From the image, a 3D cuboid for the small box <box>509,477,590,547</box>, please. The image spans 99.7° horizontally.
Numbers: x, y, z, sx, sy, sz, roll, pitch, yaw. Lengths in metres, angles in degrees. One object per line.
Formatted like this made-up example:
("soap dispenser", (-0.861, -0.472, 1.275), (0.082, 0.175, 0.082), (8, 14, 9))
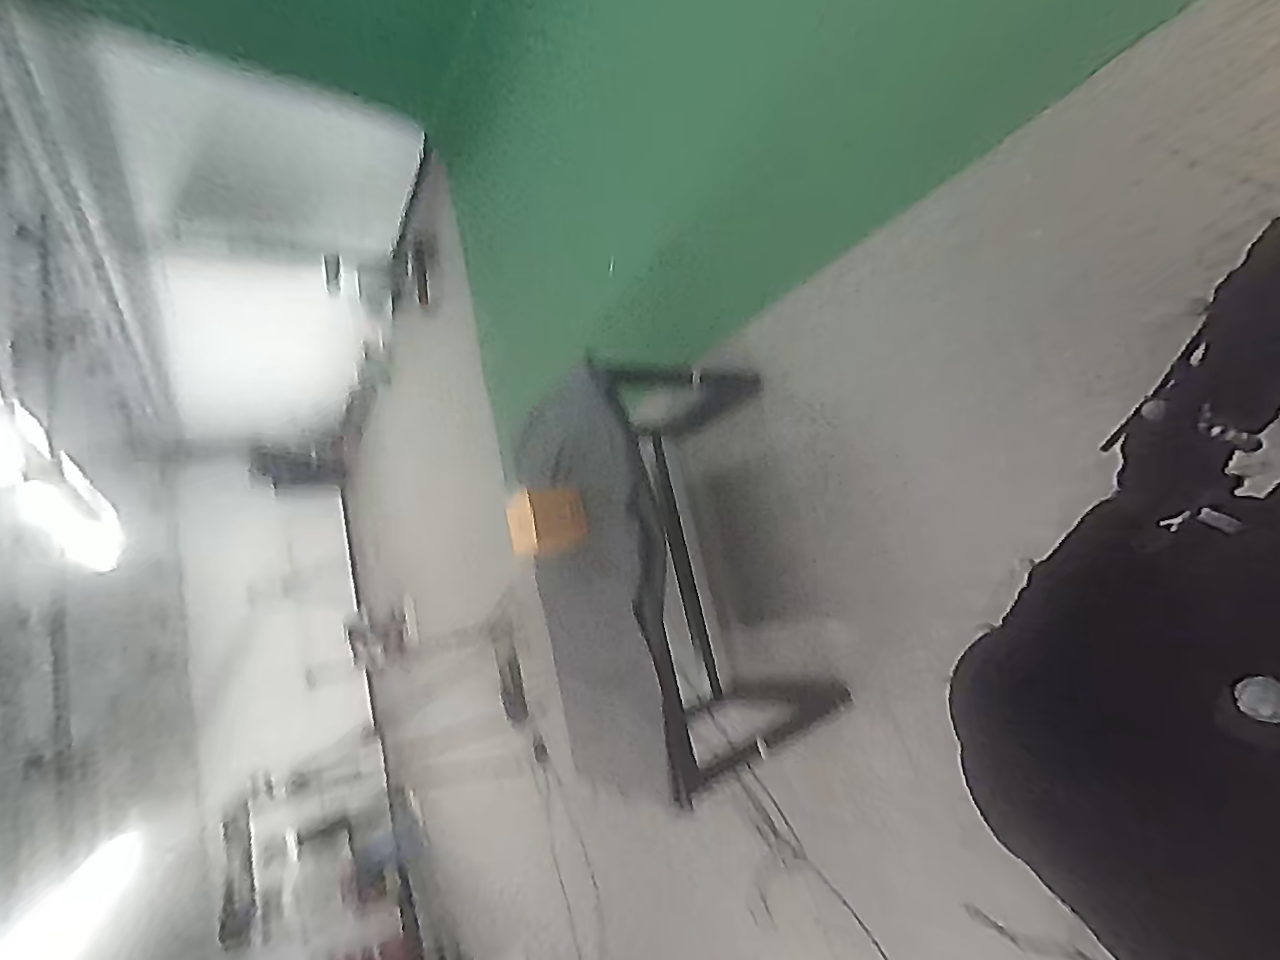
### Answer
("small box", (-0.271, 0.096, 1.619), (0.179, 0.176, 0.168), (-28, 73, 52))
